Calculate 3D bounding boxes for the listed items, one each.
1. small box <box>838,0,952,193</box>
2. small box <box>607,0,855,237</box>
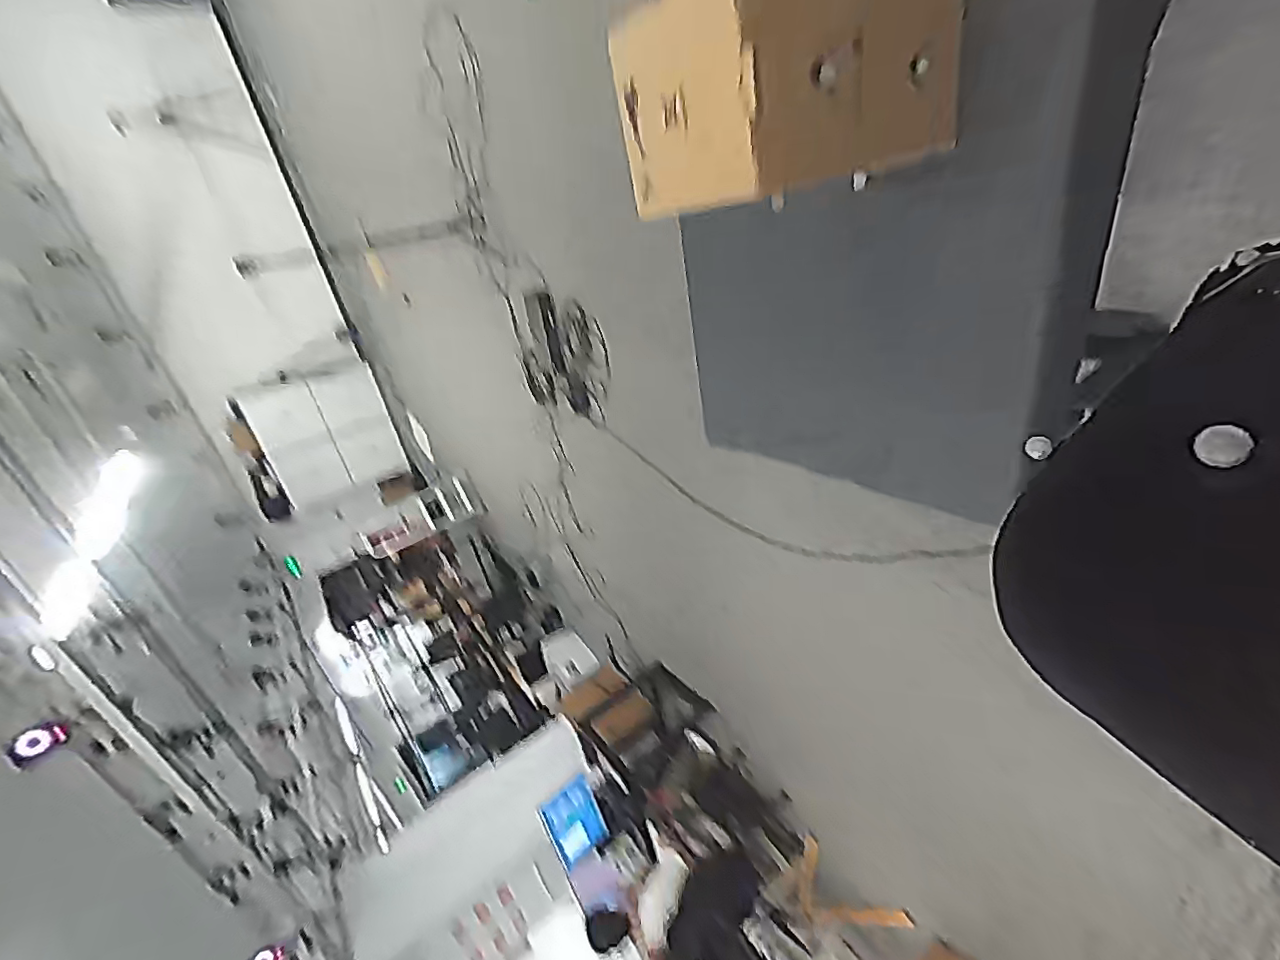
[{"bbox_3d":[0.228,-0.426,0.610,0.168,0.176,0.179,18,127,53],"label":"small box"},{"bbox_3d":[0.097,-0.355,0.541,0.179,0.176,0.168,22,132,50],"label":"small box"}]
